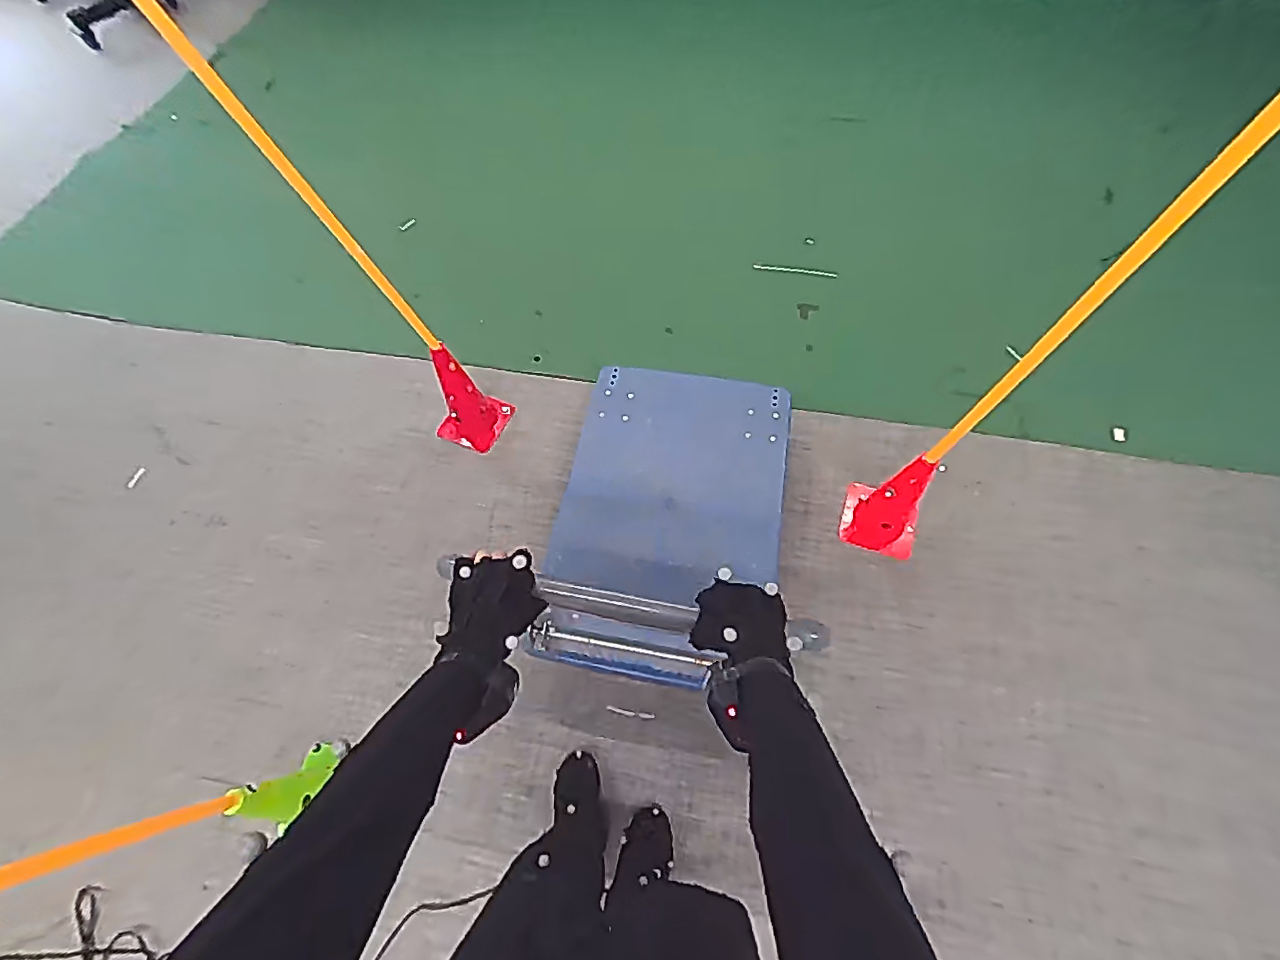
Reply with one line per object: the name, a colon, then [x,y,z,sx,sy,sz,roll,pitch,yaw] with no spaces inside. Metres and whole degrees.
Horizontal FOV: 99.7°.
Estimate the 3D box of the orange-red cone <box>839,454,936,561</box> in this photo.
orange-red cone: [0.682,0.042,1.412,0.198,0.360,0.199,18,64,13]
